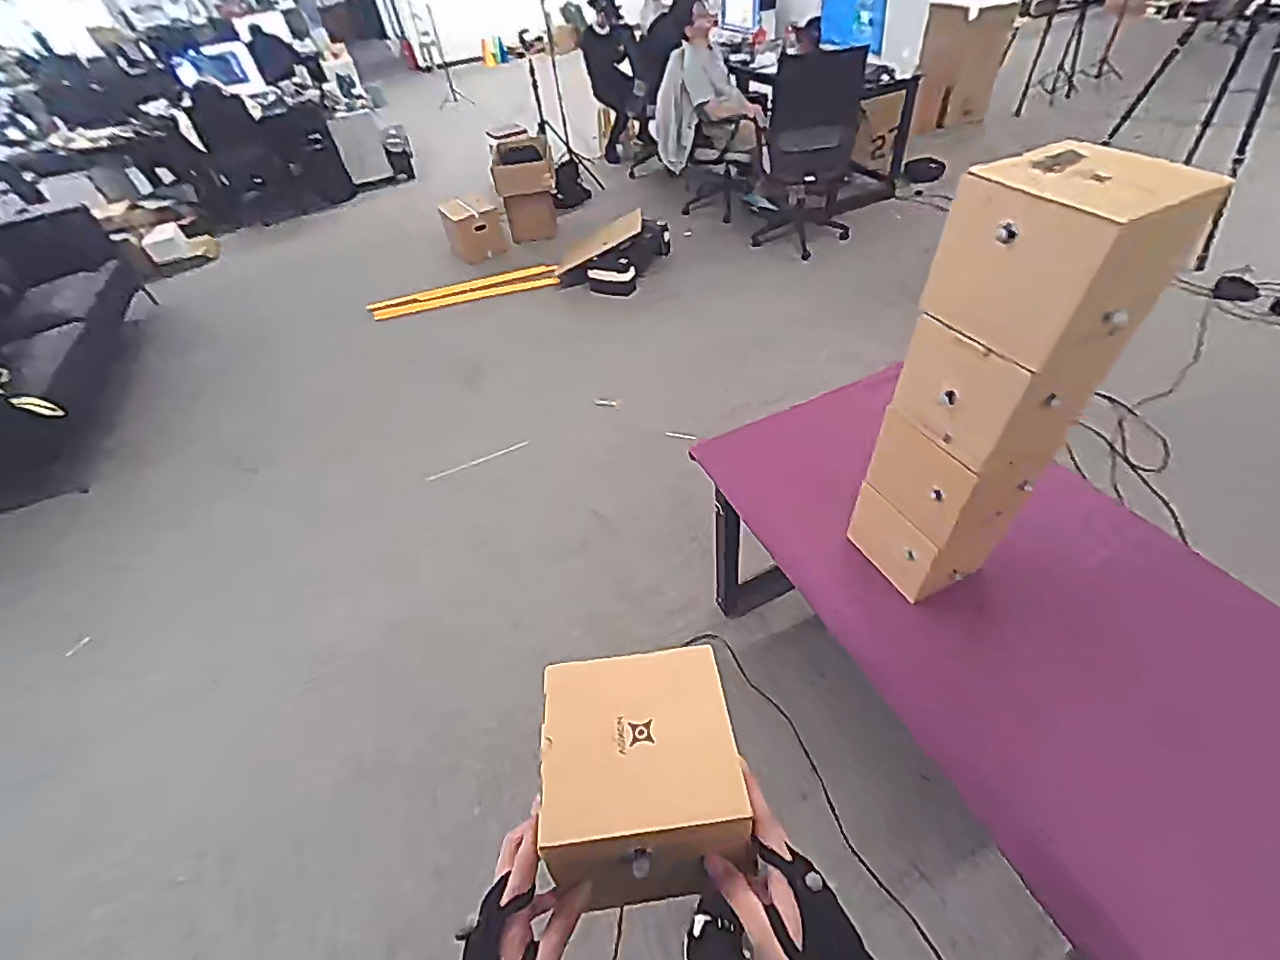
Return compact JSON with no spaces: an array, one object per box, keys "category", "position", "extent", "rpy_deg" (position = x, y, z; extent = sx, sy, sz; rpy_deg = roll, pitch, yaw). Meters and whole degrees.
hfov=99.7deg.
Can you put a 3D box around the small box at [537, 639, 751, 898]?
[{"category":"small box","position":[0.003,0.287,0.542],"extent":[0.179,0.176,0.168],"rpy_deg":[-8,37,-1]}]

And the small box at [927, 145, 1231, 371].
[{"category":"small box","position":[0.466,-0.252,0.612],"extent":[0.168,0.176,0.179],"rpy_deg":[-22,49,-14]}]

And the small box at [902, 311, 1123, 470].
[{"category":"small box","position":[0.485,-0.141,0.733],"extent":[0.179,0.176,0.168],"rpy_deg":[-23,48,-13]}]

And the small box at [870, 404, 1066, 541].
[{"category":"small box","position":[0.496,-0.026,0.848],"extent":[0.168,0.176,0.179],"rpy_deg":[-22,47,-13]}]
